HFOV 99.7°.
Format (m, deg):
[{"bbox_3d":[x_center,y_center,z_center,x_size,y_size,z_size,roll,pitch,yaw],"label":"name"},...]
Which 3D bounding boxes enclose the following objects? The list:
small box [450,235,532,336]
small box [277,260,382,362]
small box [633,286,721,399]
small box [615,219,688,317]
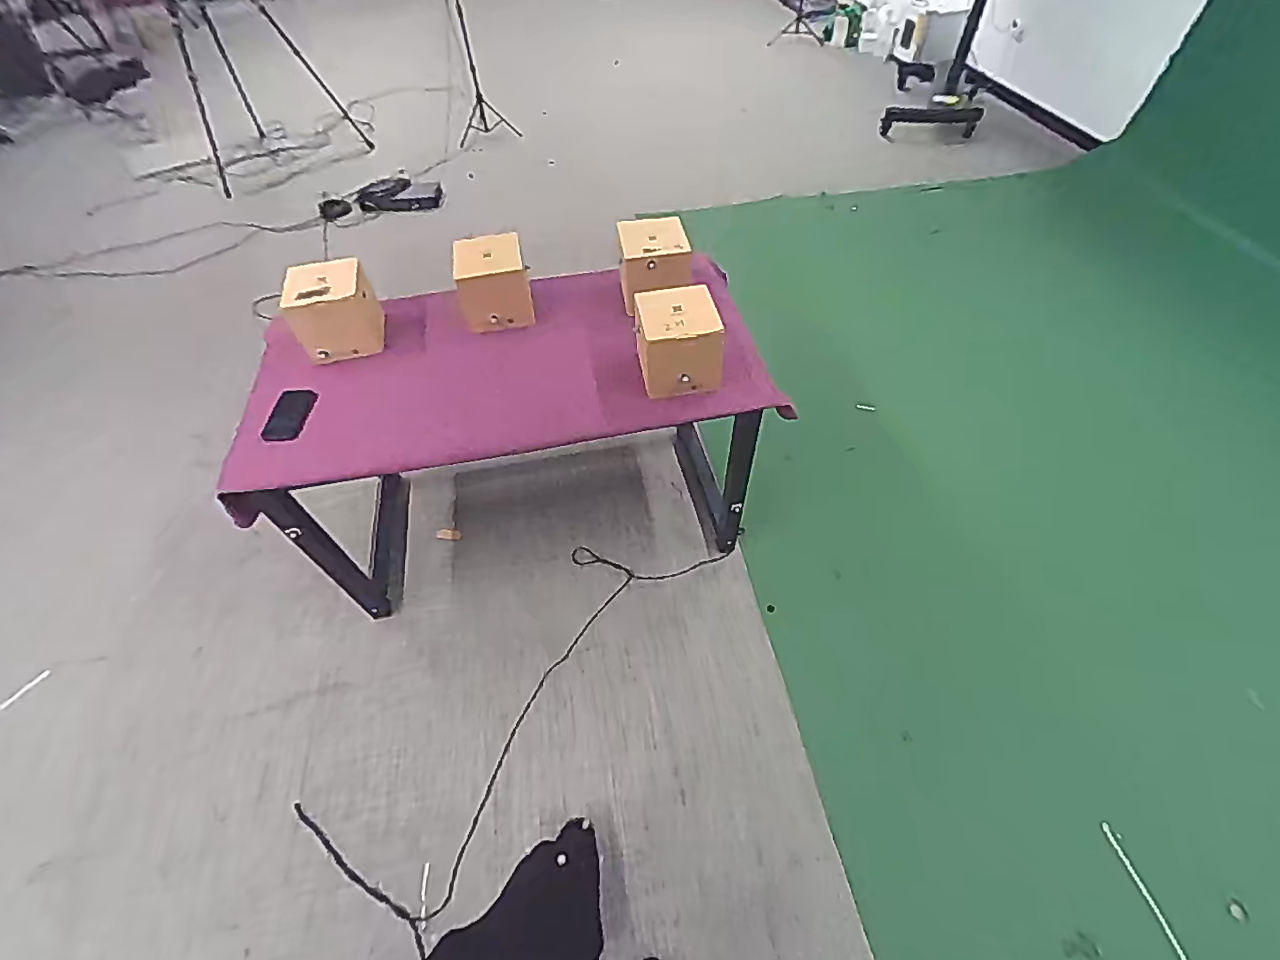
[{"bbox_3d":[-0.380,-0.498,1.389,0.168,0.176,0.179,-11,54,-5],"label":"small box"},{"bbox_3d":[-0.754,-0.409,1.333,0.168,0.176,0.179,-13,52,-8],"label":"small box"},{"bbox_3d":[0.078,-0.308,1.218,0.168,0.176,0.179,-9,52,-3],"label":"small box"},{"bbox_3d":[0.027,-0.553,1.414,0.168,0.176,0.179,-8,52,-3],"label":"small box"}]
